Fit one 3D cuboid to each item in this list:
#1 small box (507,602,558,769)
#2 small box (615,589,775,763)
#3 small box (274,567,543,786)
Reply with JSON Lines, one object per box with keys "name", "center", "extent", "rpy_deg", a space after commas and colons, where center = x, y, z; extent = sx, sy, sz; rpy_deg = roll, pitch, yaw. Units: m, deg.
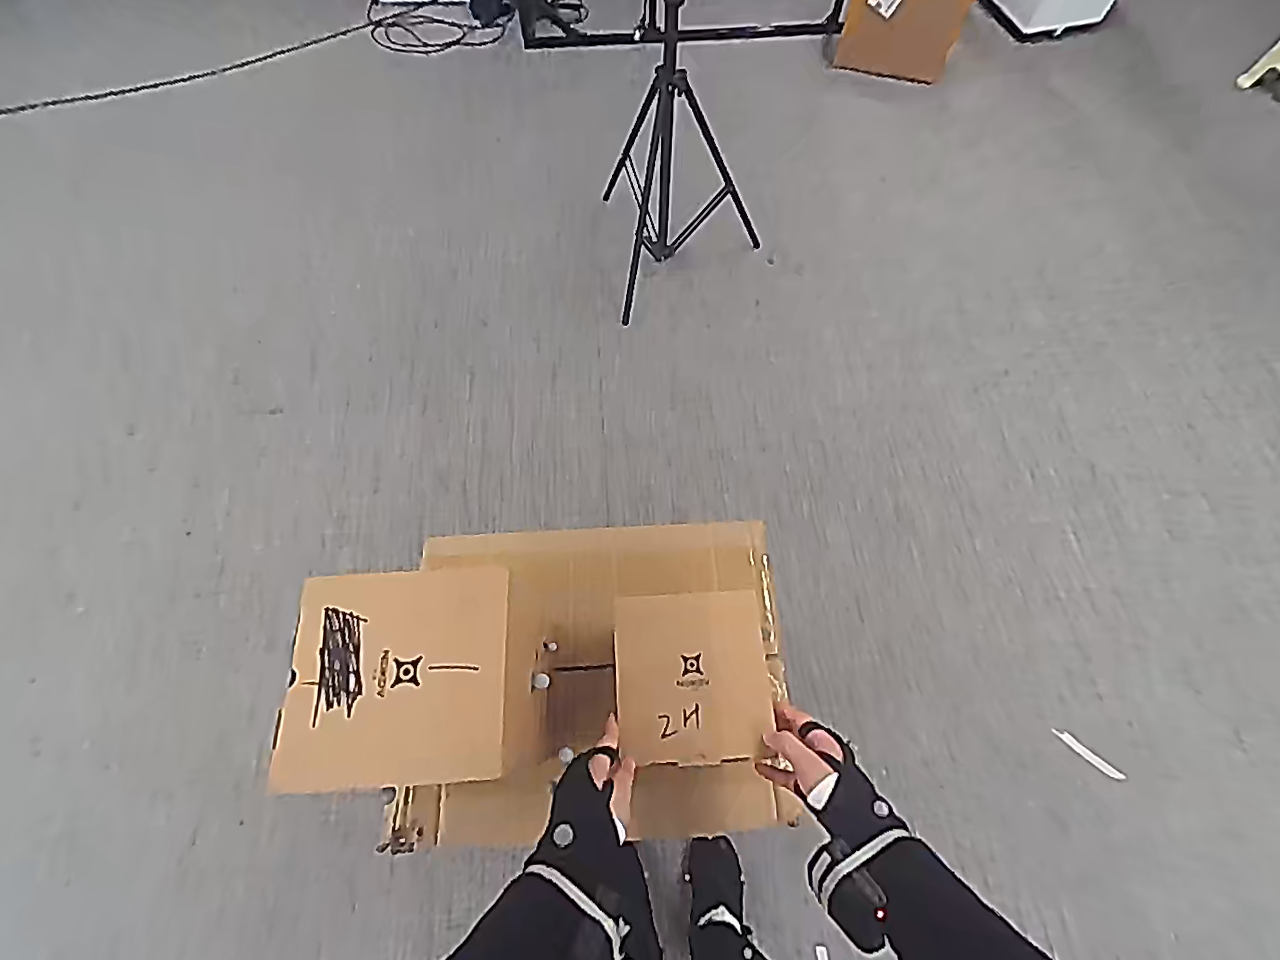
{"name": "small box", "center": [-0.196, 0.255, 0.664], "extent": [0.168, 0.176, 0.179], "rpy_deg": [-4, 67, -1]}
{"name": "small box", "center": [0.057, 0.244, 0.662], "extent": [0.168, 0.176, 0.179], "rpy_deg": [-4, 65, 1]}
{"name": "small box", "center": [-0.194, 0.188, 0.514], "extent": [0.179, 0.176, 0.168], "rpy_deg": [-3, 65, -2]}
